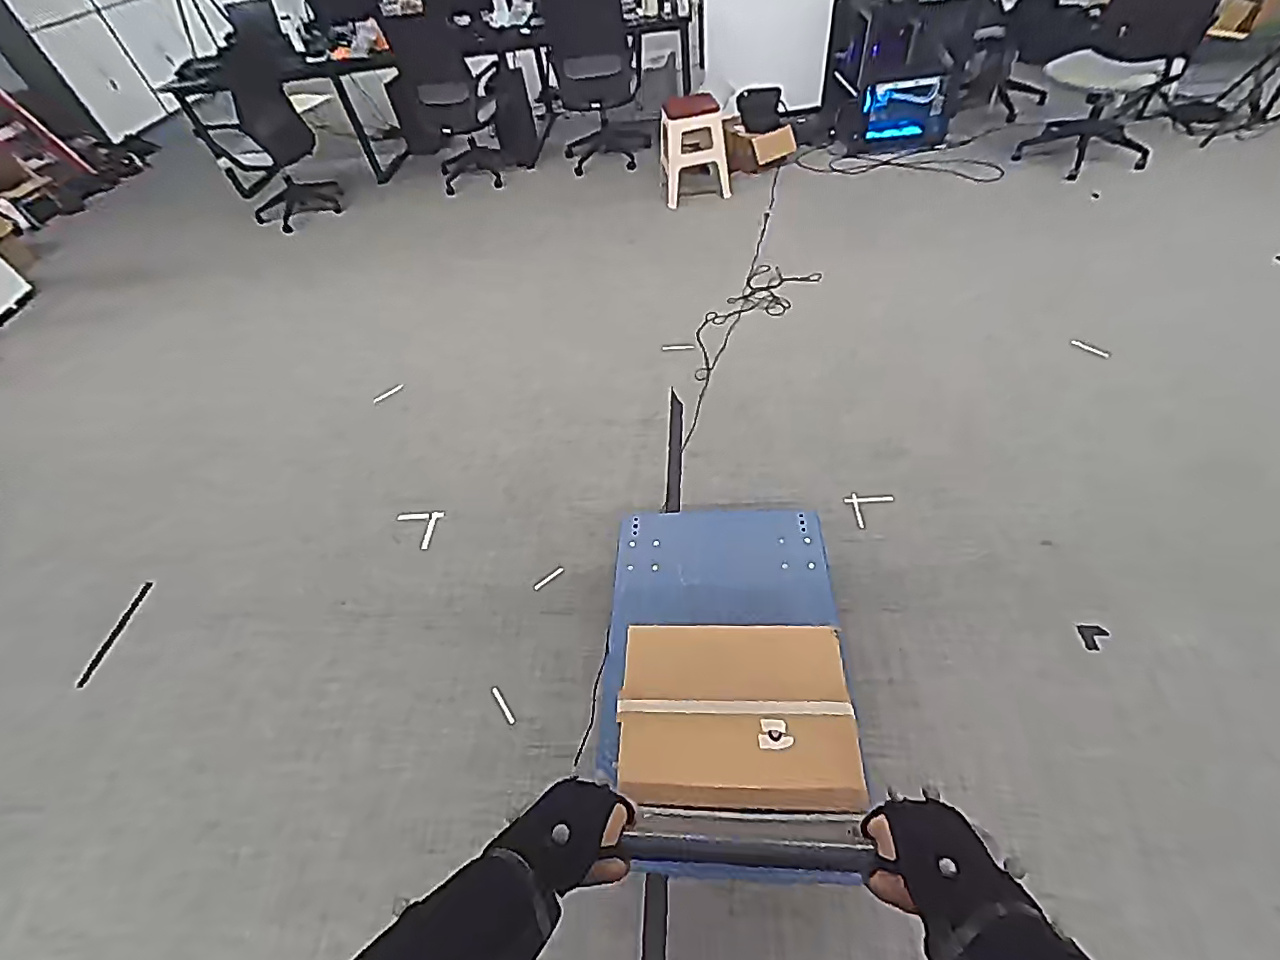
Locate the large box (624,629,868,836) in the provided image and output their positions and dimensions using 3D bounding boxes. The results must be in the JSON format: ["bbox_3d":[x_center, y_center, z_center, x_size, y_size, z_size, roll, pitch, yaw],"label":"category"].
[{"bbox_3d":[0.188,0.512,1.087,0.408,0.320,0.320,-2,51,6],"label":"large box"}]
